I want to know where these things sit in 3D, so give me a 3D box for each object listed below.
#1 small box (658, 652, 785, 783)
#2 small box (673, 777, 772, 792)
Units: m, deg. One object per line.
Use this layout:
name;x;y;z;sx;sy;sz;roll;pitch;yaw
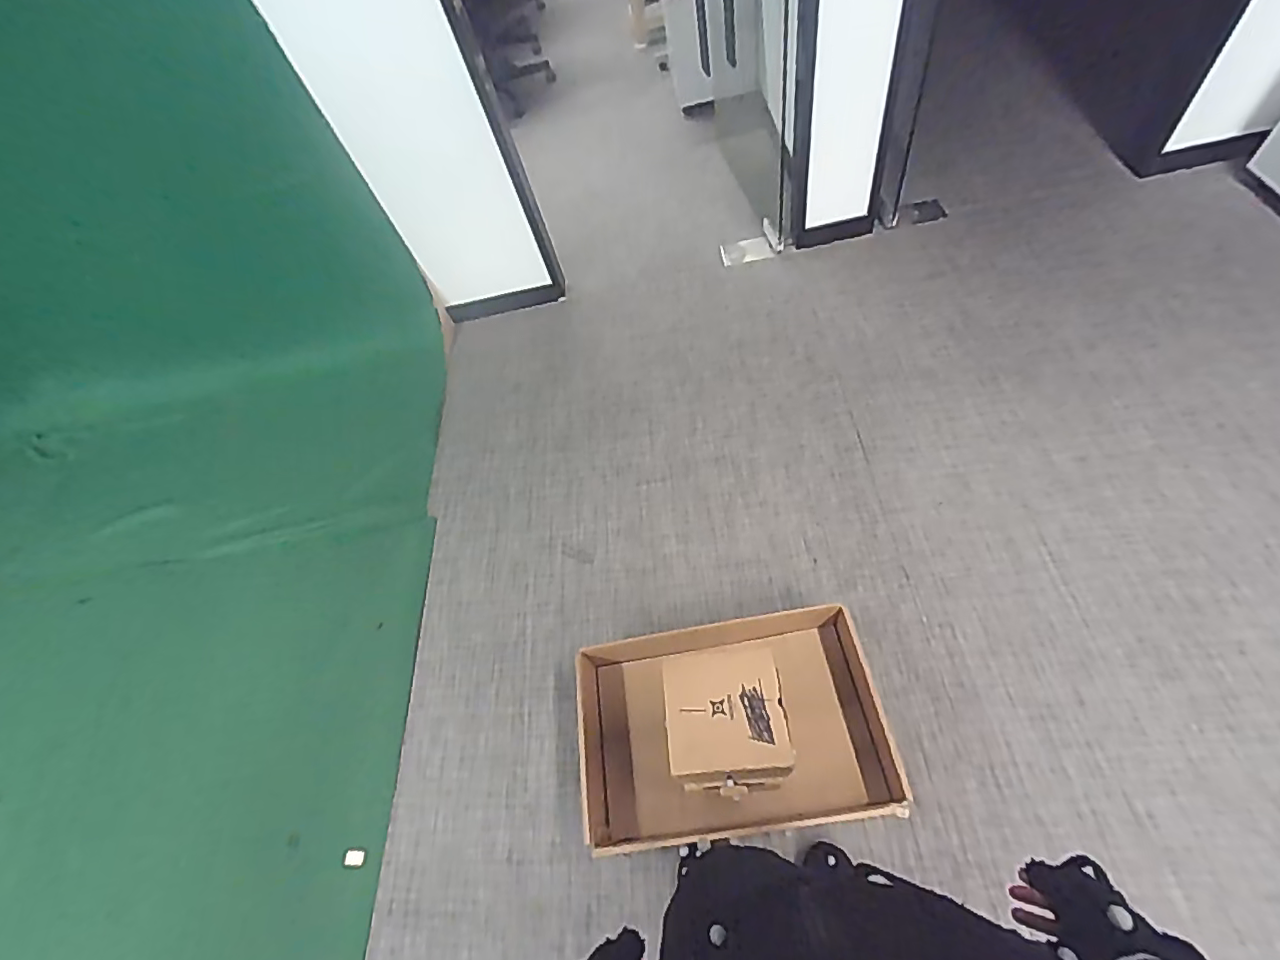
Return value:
small box;0.129;0.389;0.876;0.179;0.176;0.168;-8;55;7
small box;0.147;0.473;0.997;0.168;0.176;0.179;-8;57;6
